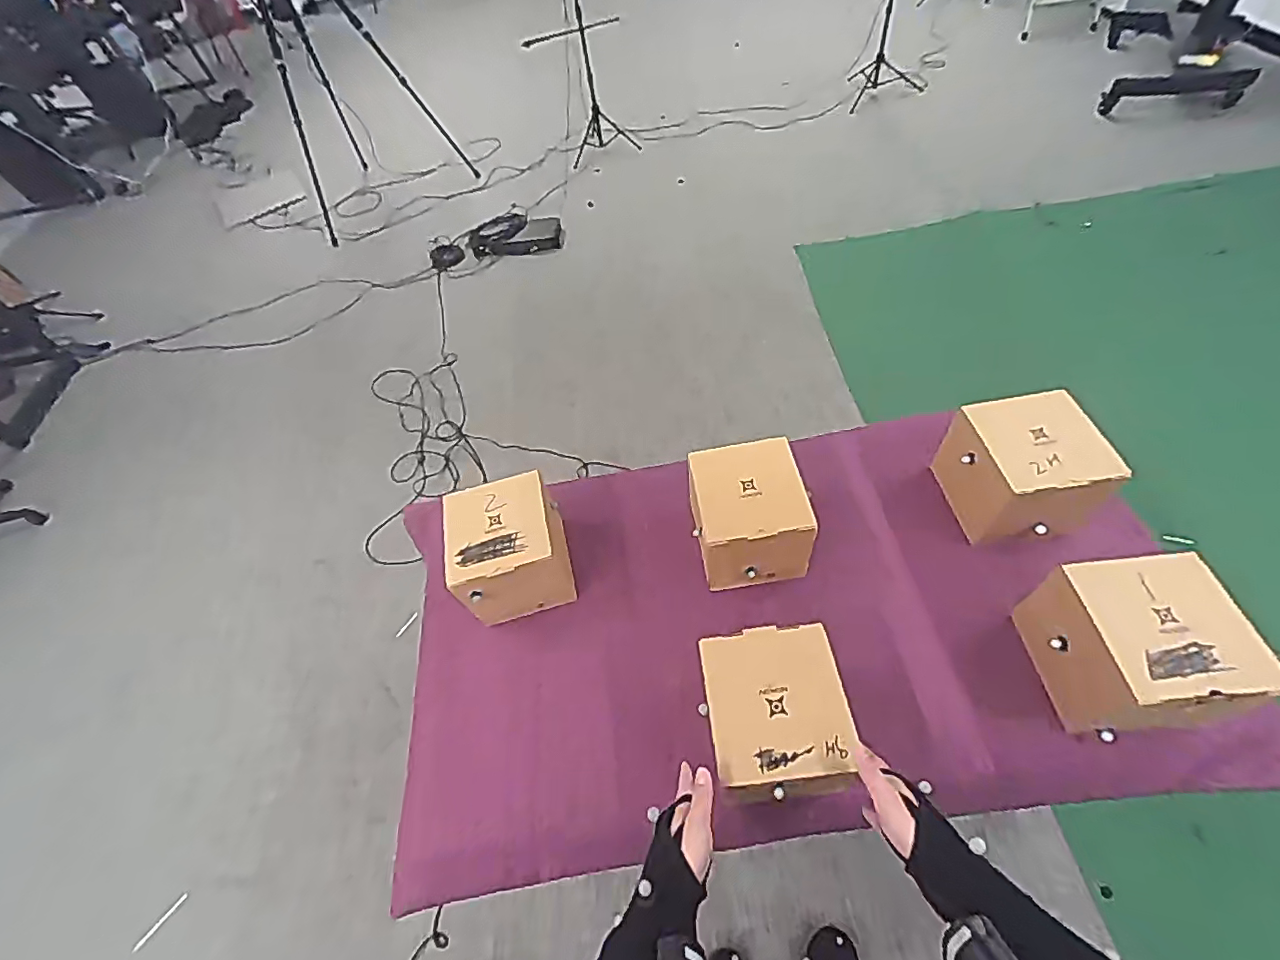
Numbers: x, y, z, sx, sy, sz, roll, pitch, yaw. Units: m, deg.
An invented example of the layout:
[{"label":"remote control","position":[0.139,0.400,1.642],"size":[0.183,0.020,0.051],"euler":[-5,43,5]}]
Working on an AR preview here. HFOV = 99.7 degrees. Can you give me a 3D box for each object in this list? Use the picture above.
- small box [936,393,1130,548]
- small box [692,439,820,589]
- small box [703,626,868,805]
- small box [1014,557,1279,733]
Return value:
[{"label":"small box","position":[0.615,-0.012,0.879],"size":[0.168,0.176,0.179],"euler":[-9,55,4]},{"label":"small box","position":[0.181,0.060,0.900],"size":[0.168,0.176,0.179],"euler":[-9,56,2]},{"label":"small box","position":[0.177,0.316,0.718],"size":[0.168,0.176,0.179],"euler":[-9,54,4]},{"label":"small box","position":[0.640,0.223,0.708],"size":[0.168,0.176,0.179],"euler":[-6,52,5]}]
